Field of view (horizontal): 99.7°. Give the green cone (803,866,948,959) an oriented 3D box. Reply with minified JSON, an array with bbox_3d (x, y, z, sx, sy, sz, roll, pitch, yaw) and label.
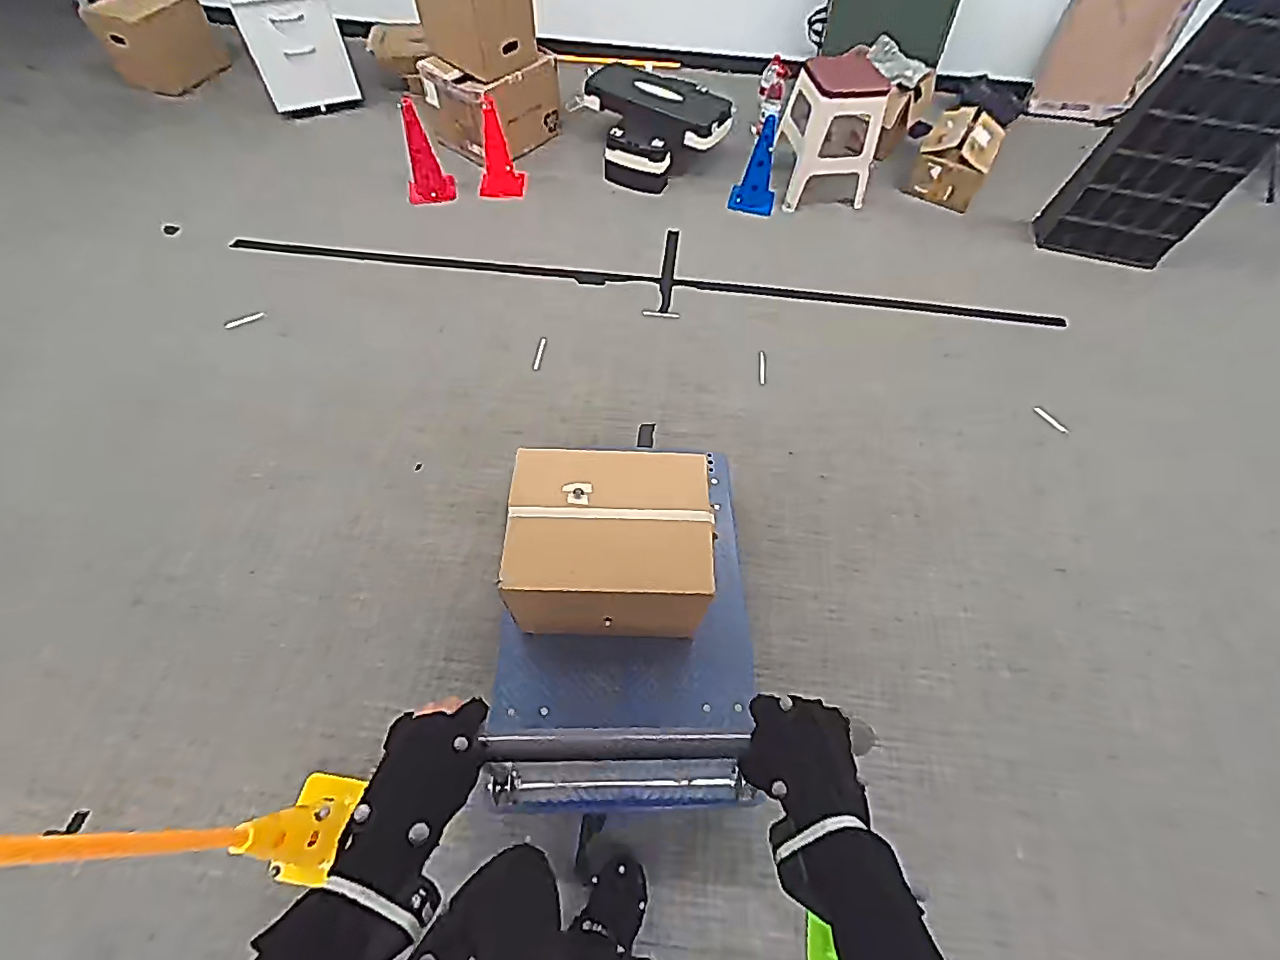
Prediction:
[{"bbox_3d":[0.453,0.857,0.985,0.202,0.368,0.200,11,59,2],"label":"green cone"}]

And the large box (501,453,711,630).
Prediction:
[{"bbox_3d":[-0.066,0.149,1.219,0.408,0.320,0.320,2,59,-1],"label":"large box"}]
